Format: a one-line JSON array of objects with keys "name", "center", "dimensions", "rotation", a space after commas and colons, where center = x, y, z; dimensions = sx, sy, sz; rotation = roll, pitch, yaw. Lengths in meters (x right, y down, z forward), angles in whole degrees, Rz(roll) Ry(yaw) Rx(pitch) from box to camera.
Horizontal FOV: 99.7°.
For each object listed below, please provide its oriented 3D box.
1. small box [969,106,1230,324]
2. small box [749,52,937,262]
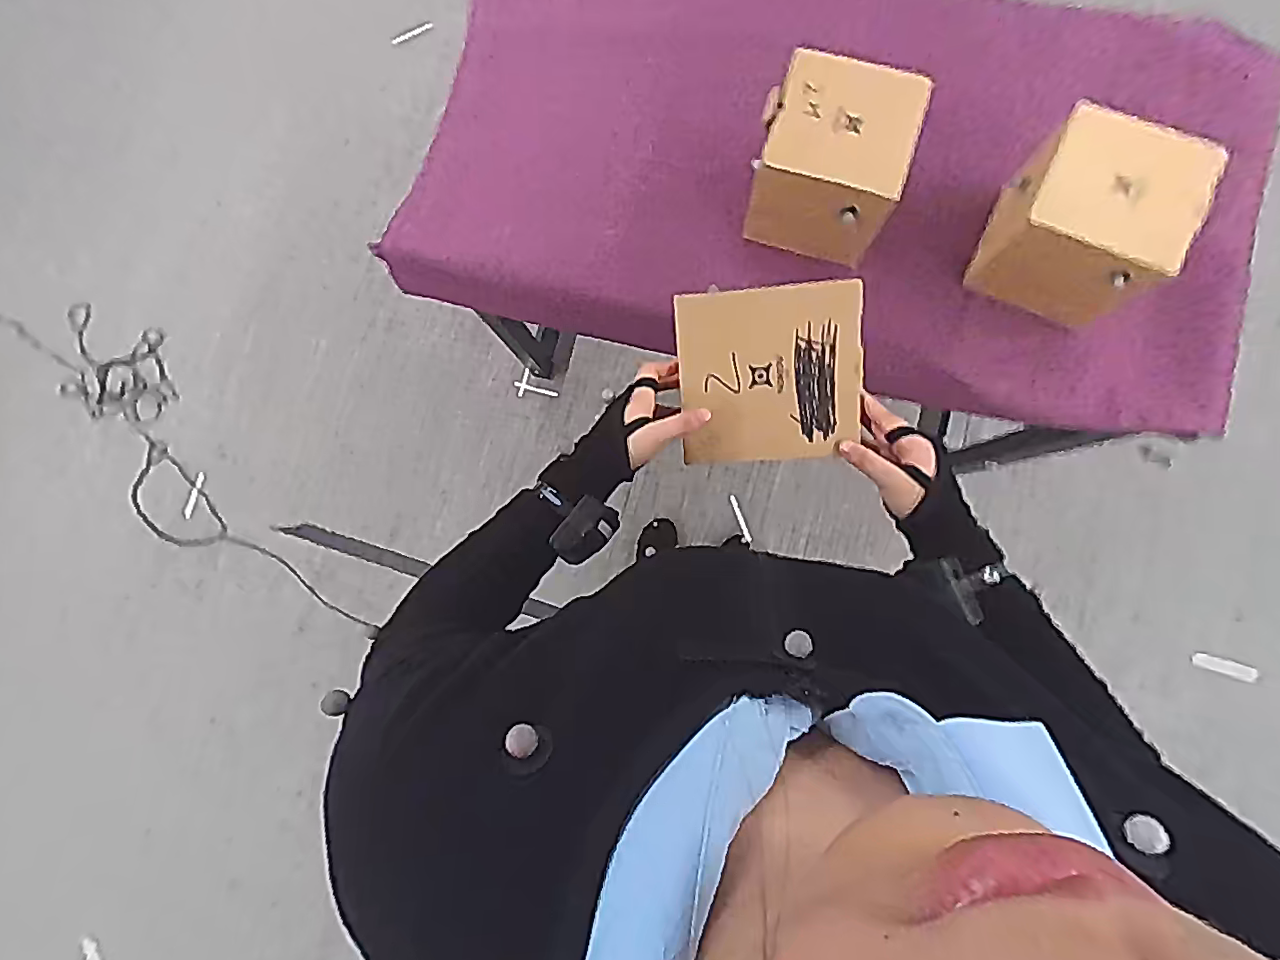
[{"name": "small box", "center": [0.579, -0.331, 0.710], "dimensions": [0.179, 0.176, 0.168], "rotation": [25, 86, 7]}, {"name": "small box", "center": [0.265, -0.428, 0.746], "dimensions": [0.179, 0.176, 0.168], "rotation": [18, 85, 6]}]
